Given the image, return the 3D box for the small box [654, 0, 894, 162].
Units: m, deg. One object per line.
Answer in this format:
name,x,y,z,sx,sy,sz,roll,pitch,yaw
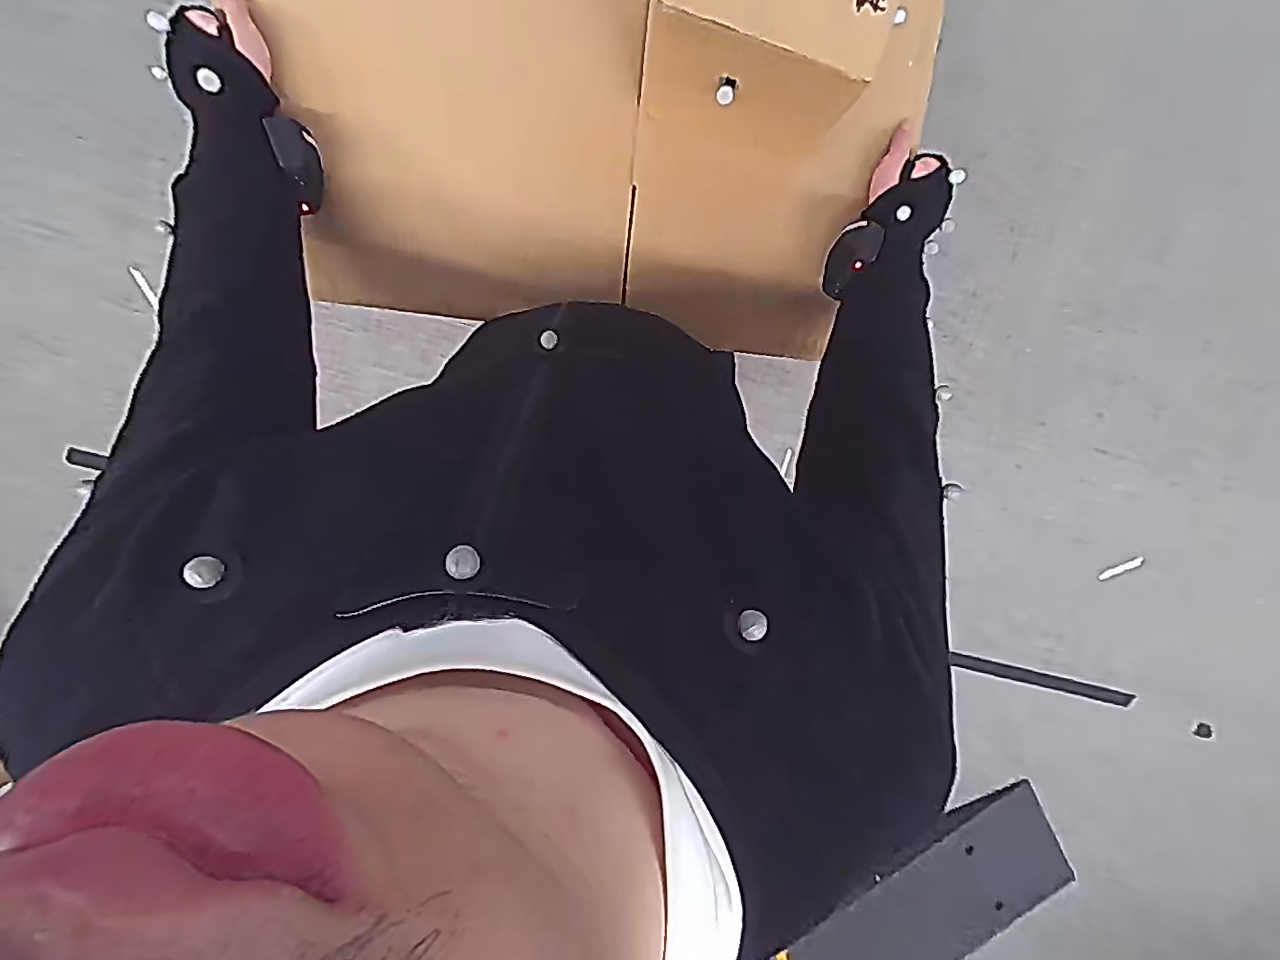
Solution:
small box,0.116,-0.420,0.483,0.179,0.176,0.168,16,99,-4
